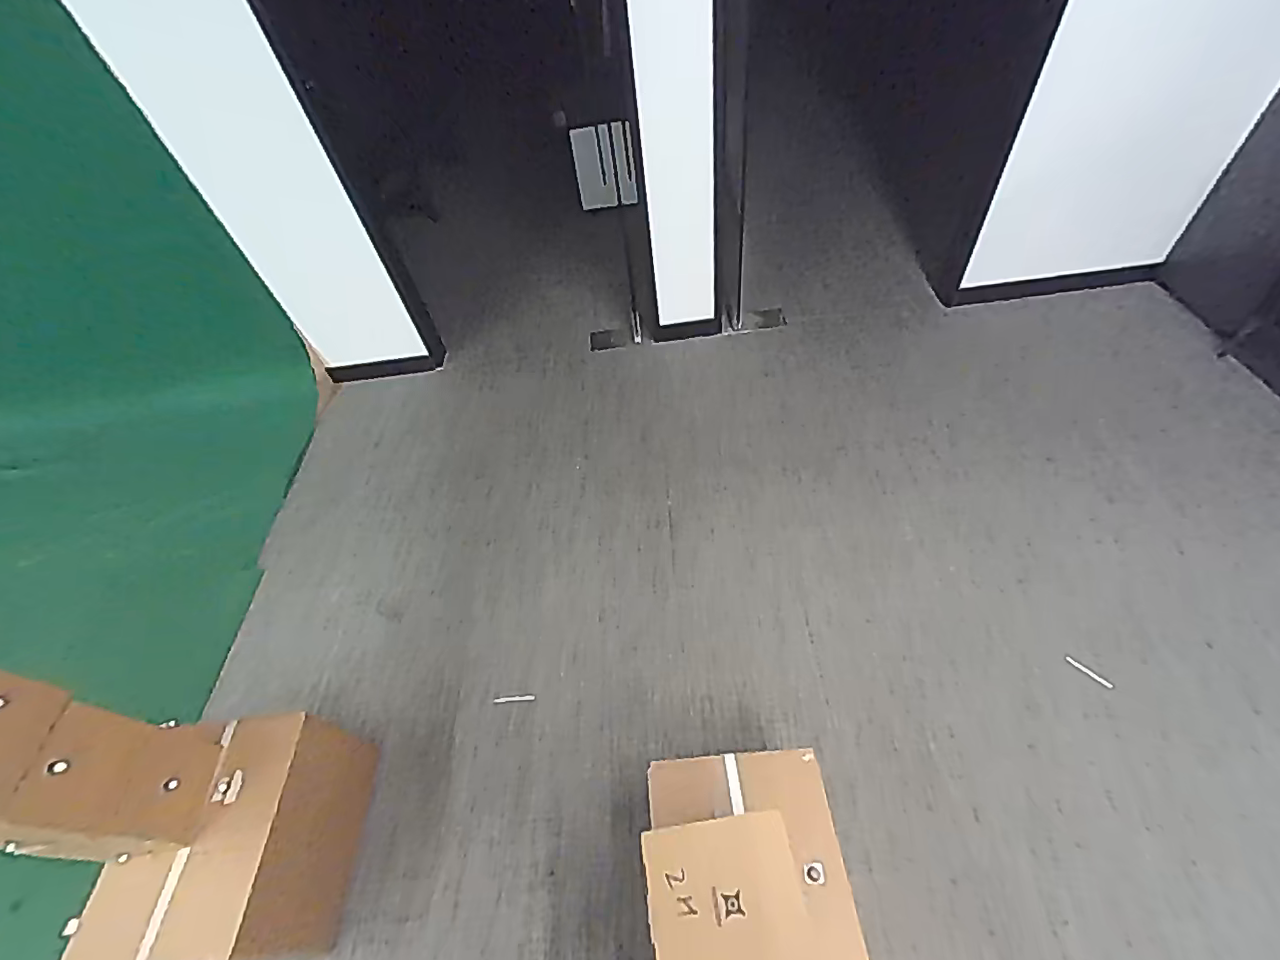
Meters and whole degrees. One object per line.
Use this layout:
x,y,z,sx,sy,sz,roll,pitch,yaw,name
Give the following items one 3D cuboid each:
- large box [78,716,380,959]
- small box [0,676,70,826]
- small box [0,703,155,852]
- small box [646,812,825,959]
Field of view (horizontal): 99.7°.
-0.809,0.769,1.144,0.320,0.320,0.408,-8,49,3,large box
-0.974,0.376,0.750,0.168,0.176,0.179,-9,52,7,small box
-0.950,0.482,0.872,0.168,0.176,0.179,-10,51,5,small box
0.113,0.527,0.667,0.179,0.176,0.168,-12,50,2,small box
